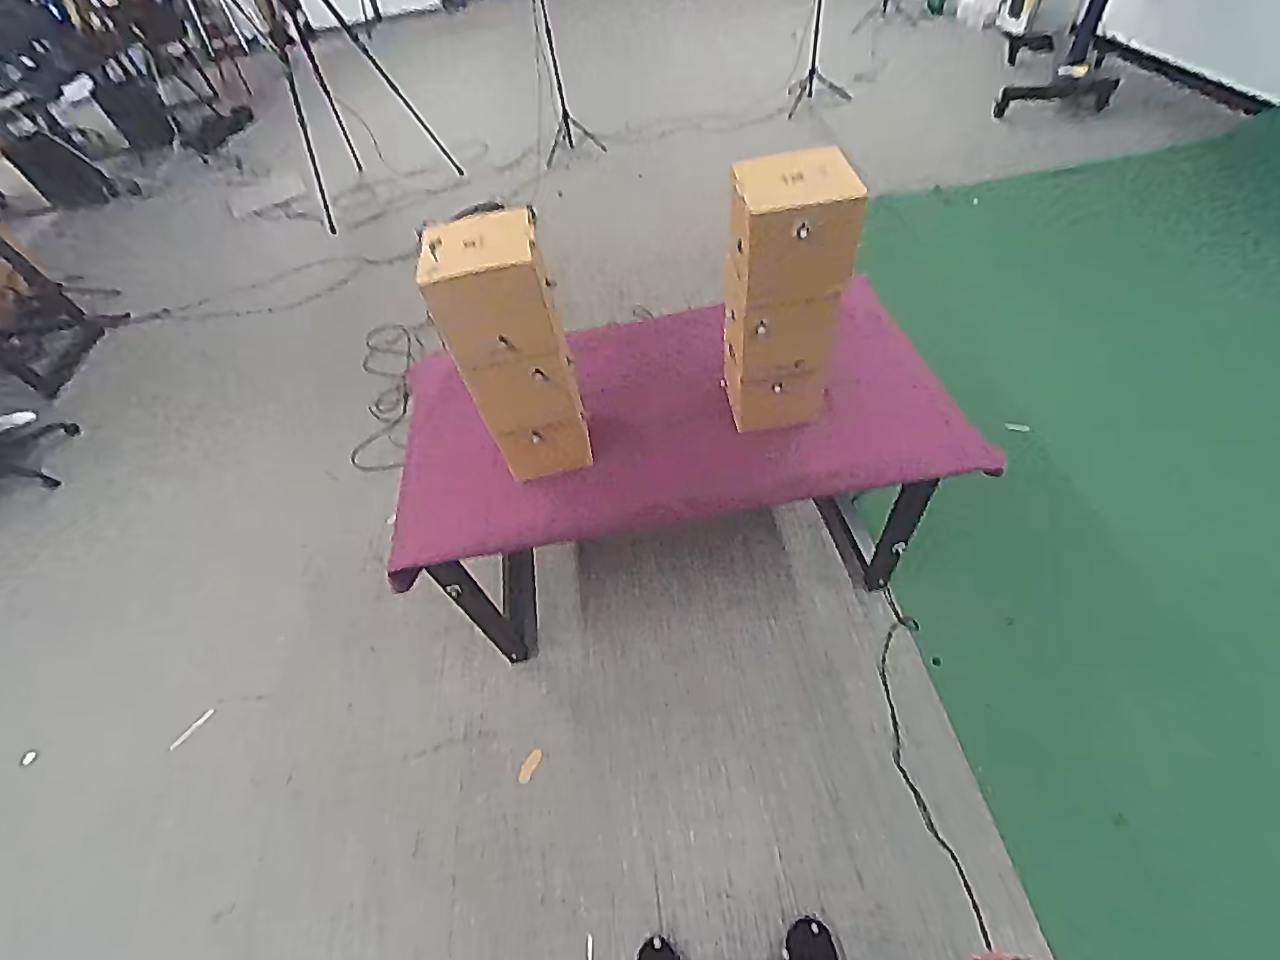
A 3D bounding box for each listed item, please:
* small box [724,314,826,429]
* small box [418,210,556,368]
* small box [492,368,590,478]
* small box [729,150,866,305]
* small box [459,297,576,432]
[{"bbox_3d":[0.281,-0.226,1.161,0.179,0.176,0.168,-8,52,2],"label":"small box"},{"bbox_3d":[-0.239,-0.310,0.890,0.179,0.176,0.168,-11,52,-1],"label":"small box"},{"bbox_3d":[-0.207,-0.127,1.161,0.179,0.176,0.168,-12,53,0],"label":"small box"},{"bbox_3d":[0.246,-0.409,0.892,0.179,0.176,0.168,-7,53,3],"label":"small box"},{"bbox_3d":[-0.222,-0.215,1.021,0.179,0.176,0.168,-11,52,0],"label":"small box"}]
